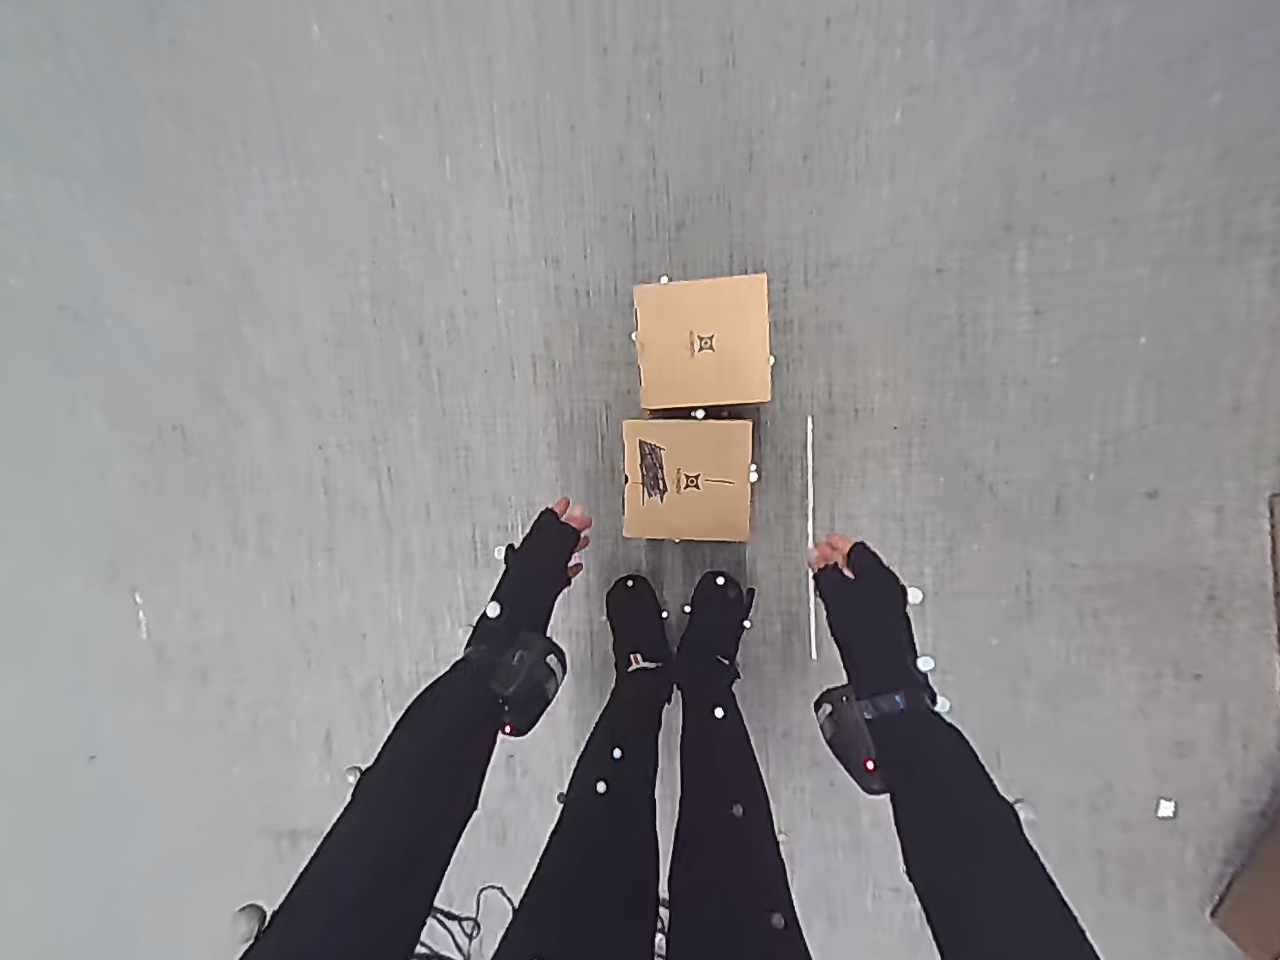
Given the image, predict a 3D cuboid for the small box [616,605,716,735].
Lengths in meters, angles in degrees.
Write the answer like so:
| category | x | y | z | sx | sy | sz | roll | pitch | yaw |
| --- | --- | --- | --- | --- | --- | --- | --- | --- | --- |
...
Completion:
| category | x | y | z | sx | sy | sz | roll | pitch | yaw |
| --- | --- | --- | --- | --- | --- | --- | --- | --- | --- |
| small box | 0.042 | 0.364 | 1.054 | 0.168 | 0.176 | 0.179 | 5 | 100 | -5 |
